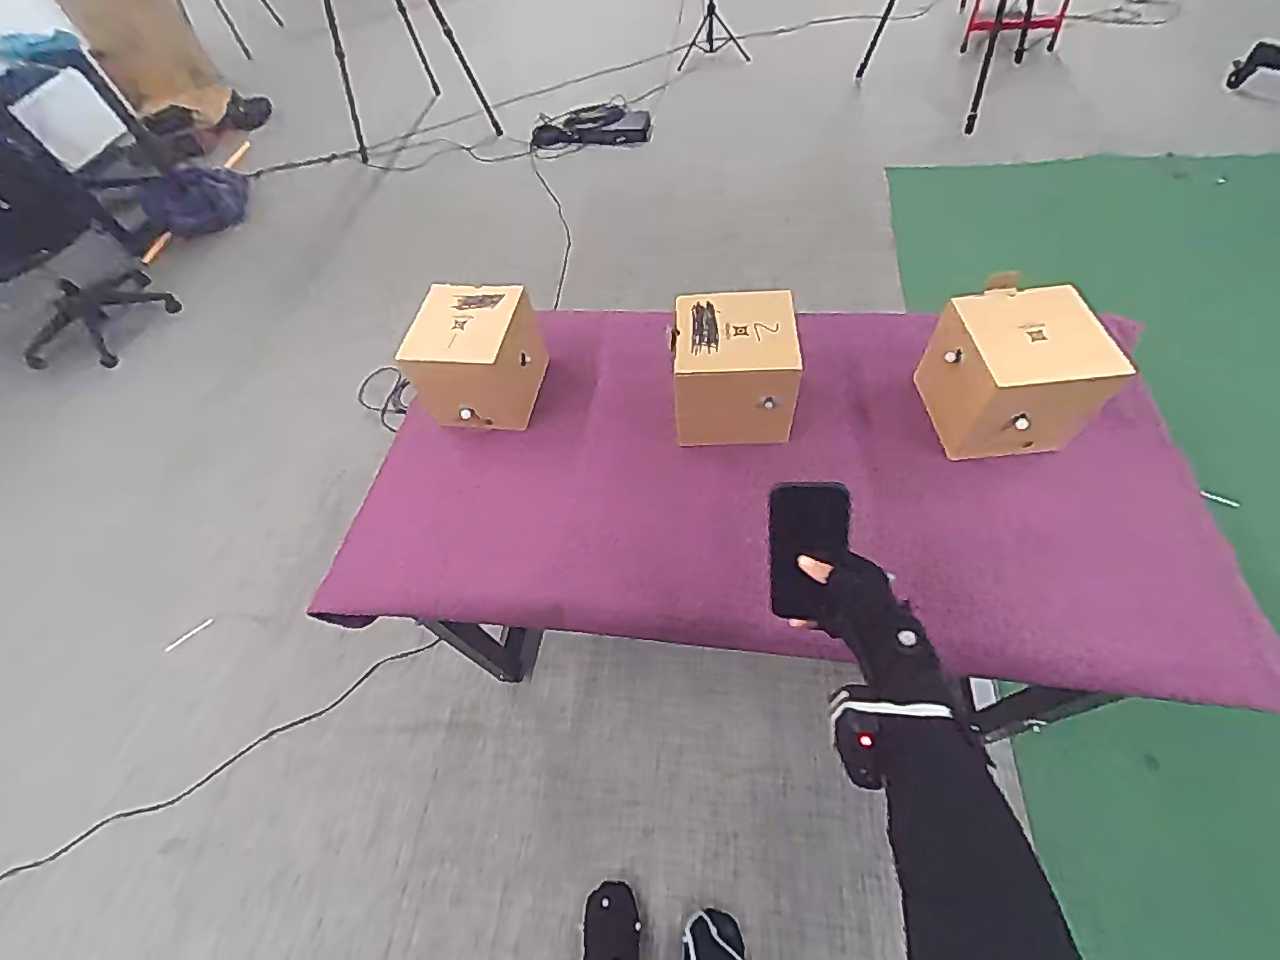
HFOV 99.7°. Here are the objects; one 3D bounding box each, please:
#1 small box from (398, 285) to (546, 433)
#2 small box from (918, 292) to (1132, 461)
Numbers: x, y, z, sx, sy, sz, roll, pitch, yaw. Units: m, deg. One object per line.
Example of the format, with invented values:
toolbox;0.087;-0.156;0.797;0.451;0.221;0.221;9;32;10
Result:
small box;-0.269;-0.204;0.917;0.168;0.176;0.179;5;59;10
small box;0.531;-0.139;0.781;0.168;0.176;0.179;-5;56;4
